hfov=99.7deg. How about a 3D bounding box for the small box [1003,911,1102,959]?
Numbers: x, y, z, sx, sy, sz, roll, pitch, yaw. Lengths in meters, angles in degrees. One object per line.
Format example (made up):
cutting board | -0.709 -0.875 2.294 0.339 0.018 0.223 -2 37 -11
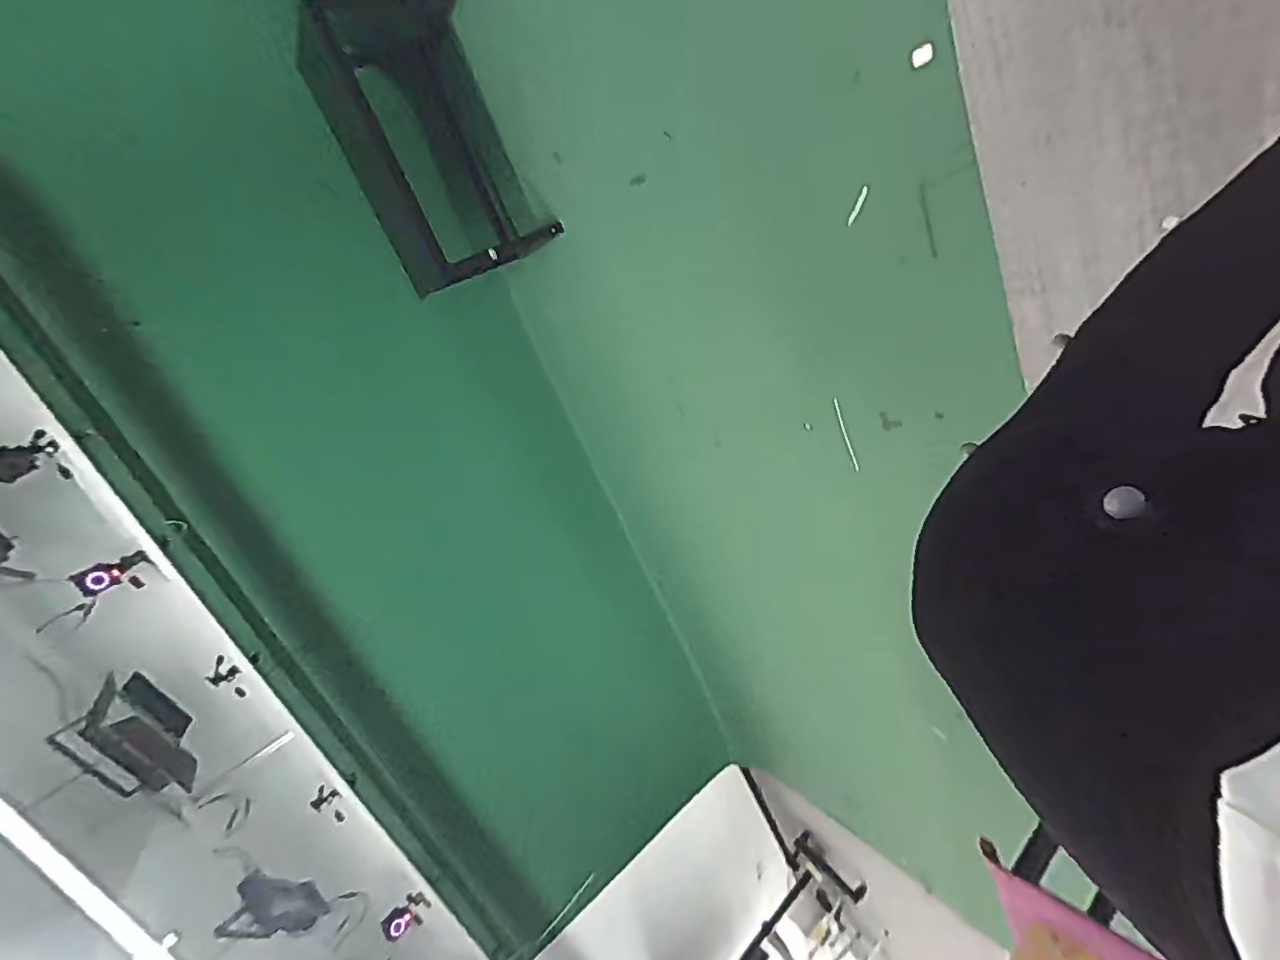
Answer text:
small box | 1.076 1.282 1.390 0.168 0.176 0.179 3 123 59
